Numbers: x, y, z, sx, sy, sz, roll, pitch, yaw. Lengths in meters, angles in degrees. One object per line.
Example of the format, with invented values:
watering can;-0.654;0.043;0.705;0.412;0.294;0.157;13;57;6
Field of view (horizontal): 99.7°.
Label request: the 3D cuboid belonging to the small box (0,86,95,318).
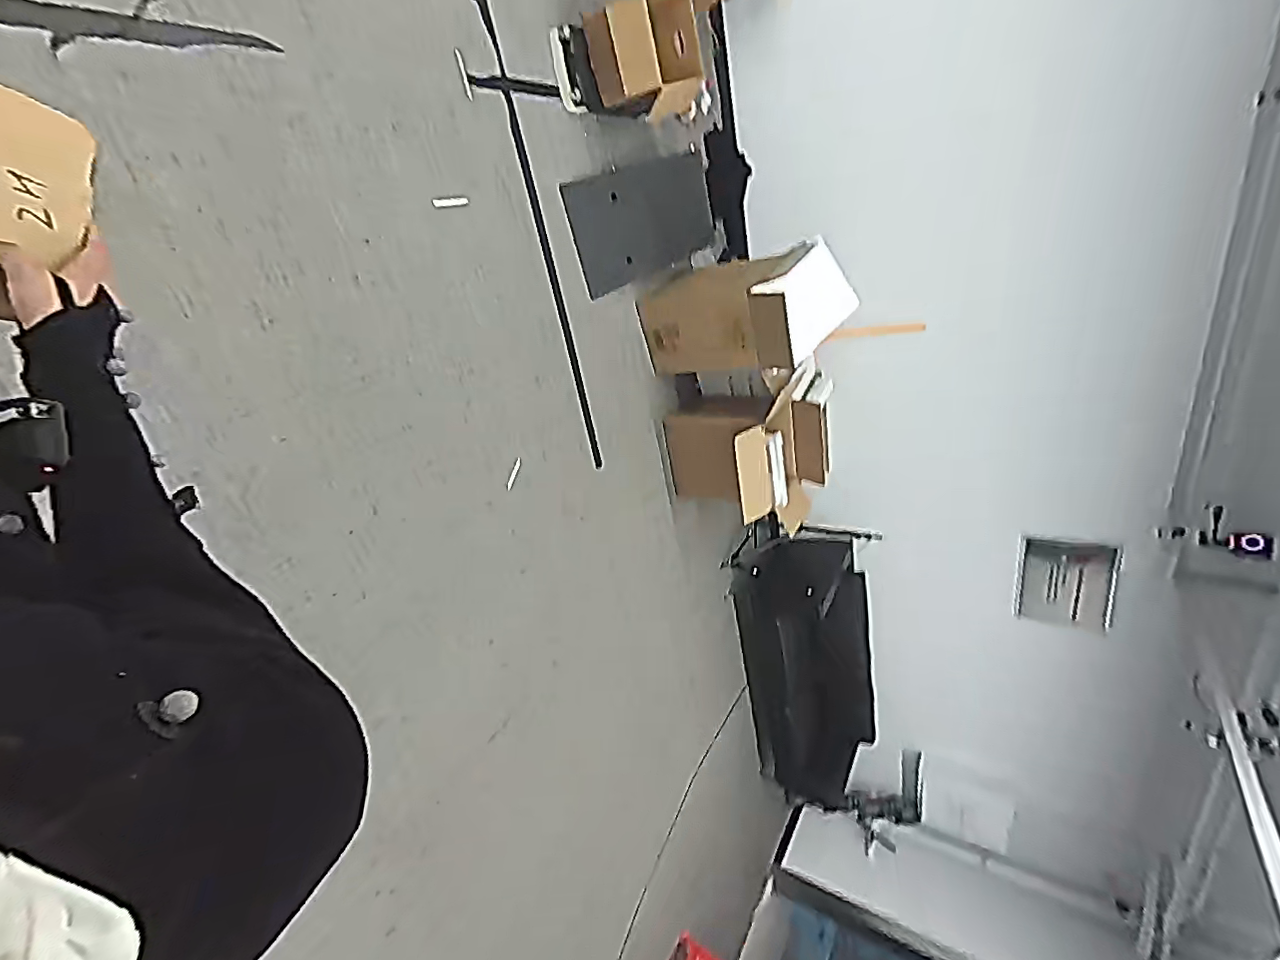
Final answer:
small box;-0.652;-0.266;0.495;0.179;0.176;0.168;9;77;-59
